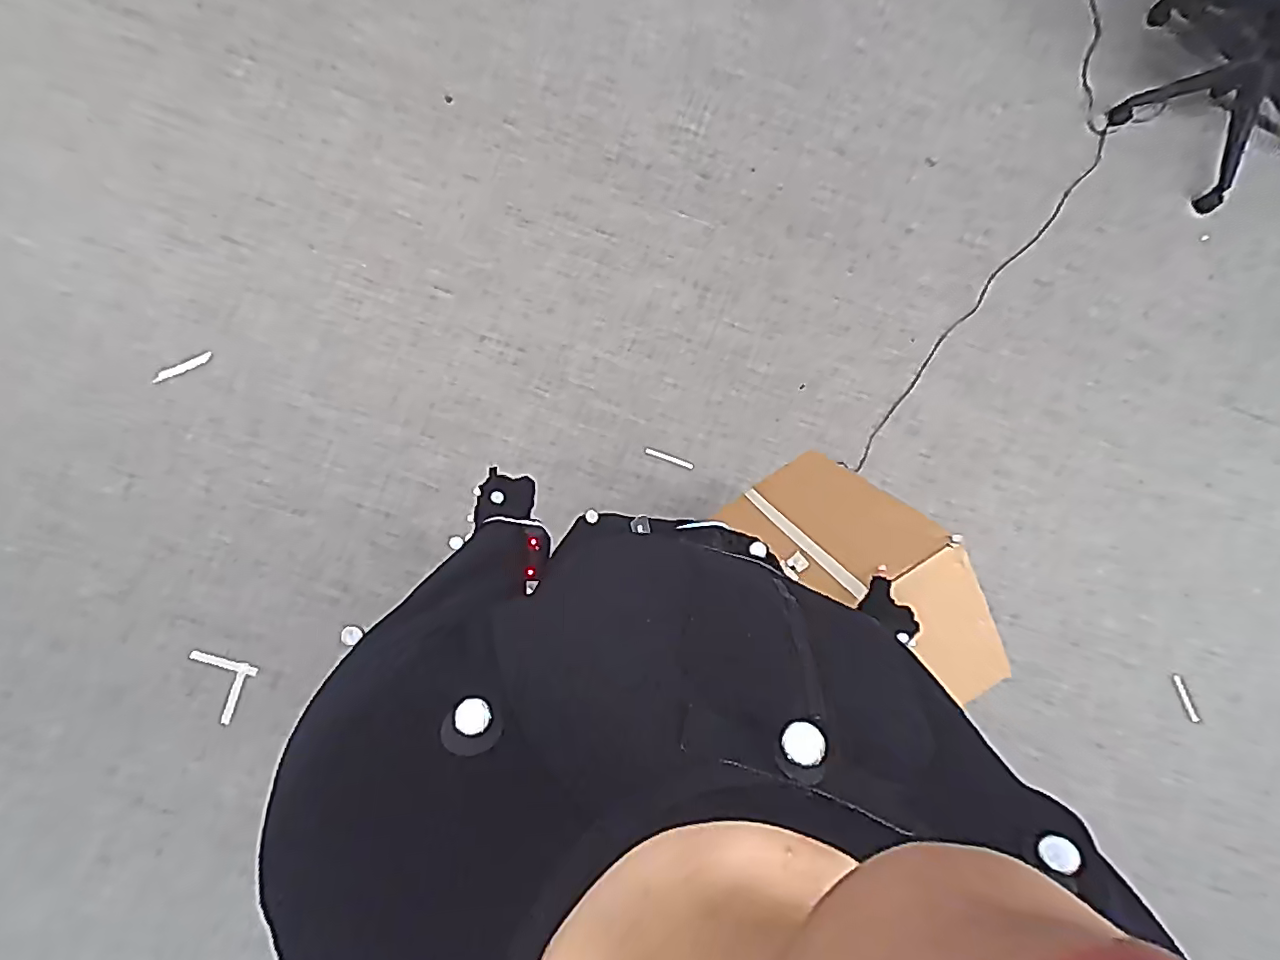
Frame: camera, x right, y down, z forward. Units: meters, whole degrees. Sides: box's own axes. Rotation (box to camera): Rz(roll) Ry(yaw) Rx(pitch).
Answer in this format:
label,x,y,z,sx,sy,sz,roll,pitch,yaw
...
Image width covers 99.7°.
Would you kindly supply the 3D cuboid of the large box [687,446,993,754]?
label,x,y,z,sx,sy,sz,roll,pitch,yaw
large box,0.344,0.196,1.007,0.320,0.408,0.320,-35,117,2
